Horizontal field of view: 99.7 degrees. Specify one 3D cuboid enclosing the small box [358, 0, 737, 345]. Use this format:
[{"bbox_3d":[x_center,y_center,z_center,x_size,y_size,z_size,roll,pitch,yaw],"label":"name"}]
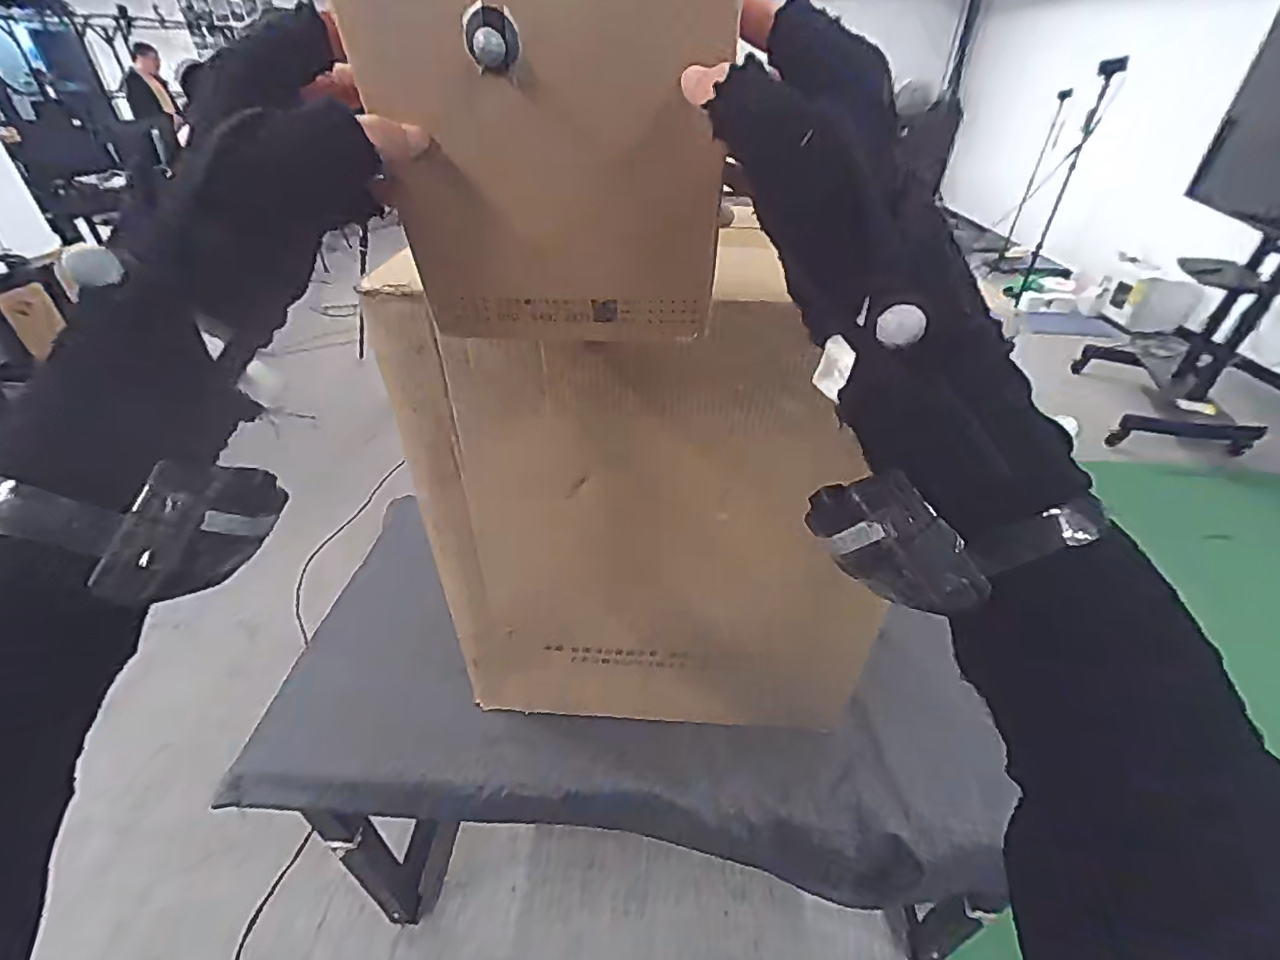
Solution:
[{"bbox_3d":[-0.037,-0.206,0.338,0.168,0.176,0.179,2,47,2],"label":"small box"}]
